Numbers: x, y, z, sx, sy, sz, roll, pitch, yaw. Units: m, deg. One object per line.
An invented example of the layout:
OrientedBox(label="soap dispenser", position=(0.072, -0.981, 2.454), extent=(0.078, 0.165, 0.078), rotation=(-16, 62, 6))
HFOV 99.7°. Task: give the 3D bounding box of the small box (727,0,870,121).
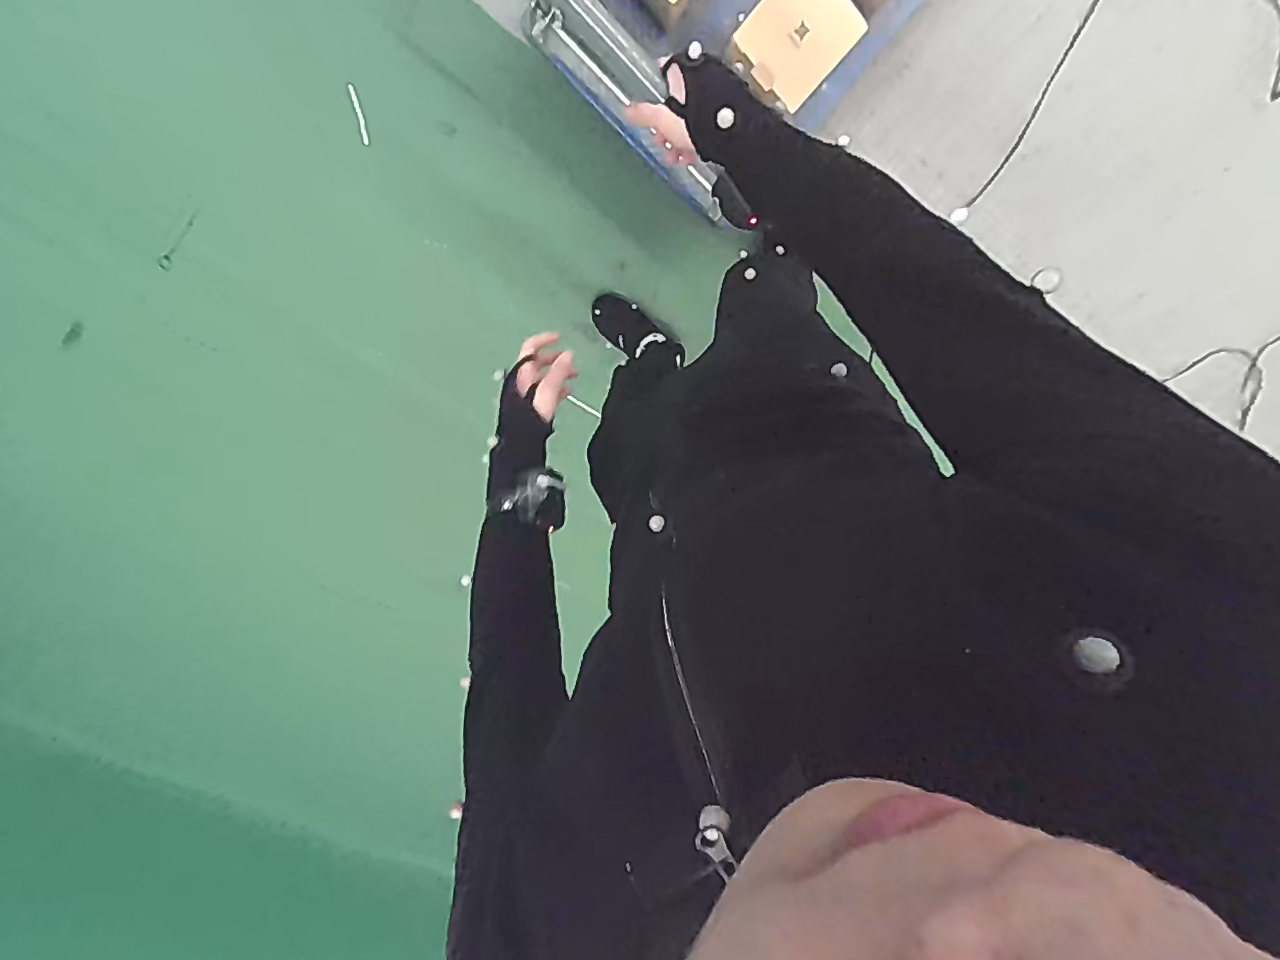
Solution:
OrientedBox(label="small box", position=(0.280, -0.807, 0.999), extent=(0.168, 0.176, 0.179), rotation=(40, 112, -18))
